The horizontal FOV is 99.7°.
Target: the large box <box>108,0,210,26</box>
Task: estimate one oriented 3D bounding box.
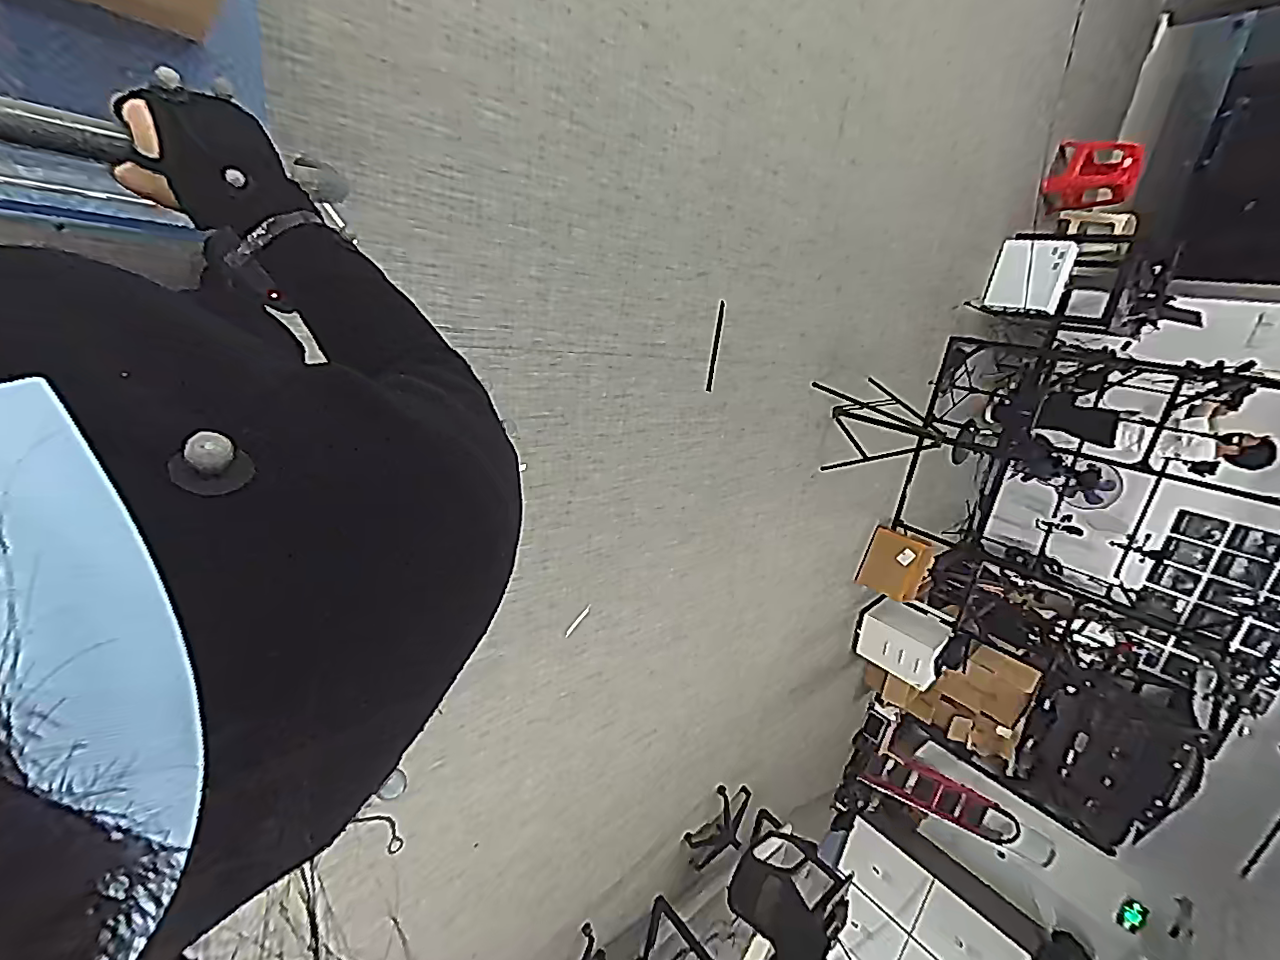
[{"bbox_3d":[-0.762,-0.811,0.617,0.408,0.320,0.320,-8,114,-41],"label":"large box"}]
